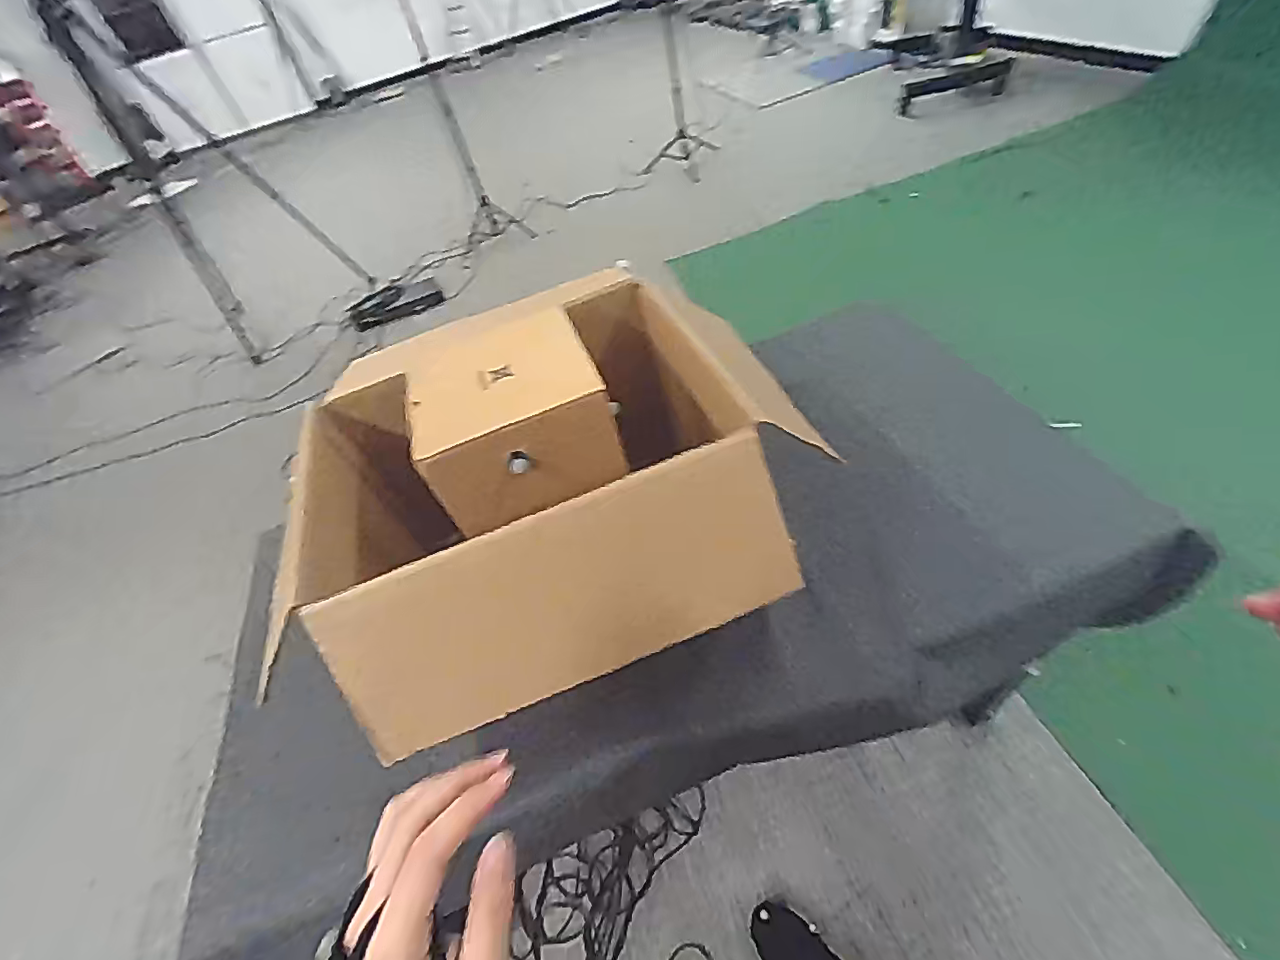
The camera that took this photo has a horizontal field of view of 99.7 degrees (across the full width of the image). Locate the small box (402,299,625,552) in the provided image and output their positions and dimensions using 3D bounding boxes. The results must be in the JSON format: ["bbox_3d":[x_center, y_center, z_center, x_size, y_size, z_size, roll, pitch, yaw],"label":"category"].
[{"bbox_3d":[-0.124,-0.055,0.572,0.179,0.176,0.168,-22,48,-6],"label":"small box"}]
